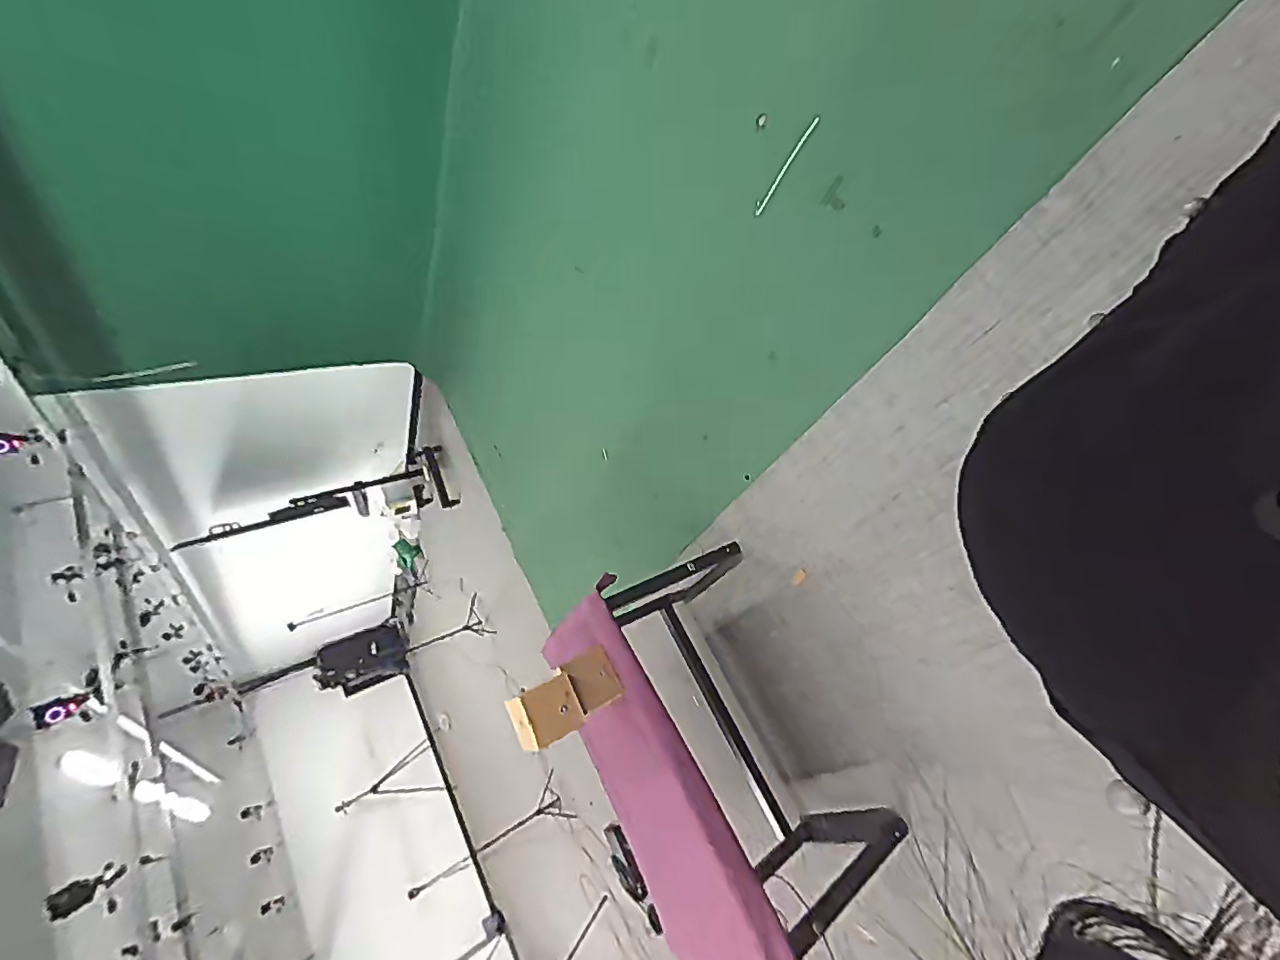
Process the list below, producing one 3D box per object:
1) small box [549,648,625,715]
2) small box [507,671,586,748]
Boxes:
[{"bbox_3d":[-0.178,0.683,1.811,0.179,0.176,0.168,60,145,20],"label":"small box"},{"bbox_3d":[-0.294,0.721,1.701,0.179,0.176,0.168,-43,68,52],"label":"small box"}]
